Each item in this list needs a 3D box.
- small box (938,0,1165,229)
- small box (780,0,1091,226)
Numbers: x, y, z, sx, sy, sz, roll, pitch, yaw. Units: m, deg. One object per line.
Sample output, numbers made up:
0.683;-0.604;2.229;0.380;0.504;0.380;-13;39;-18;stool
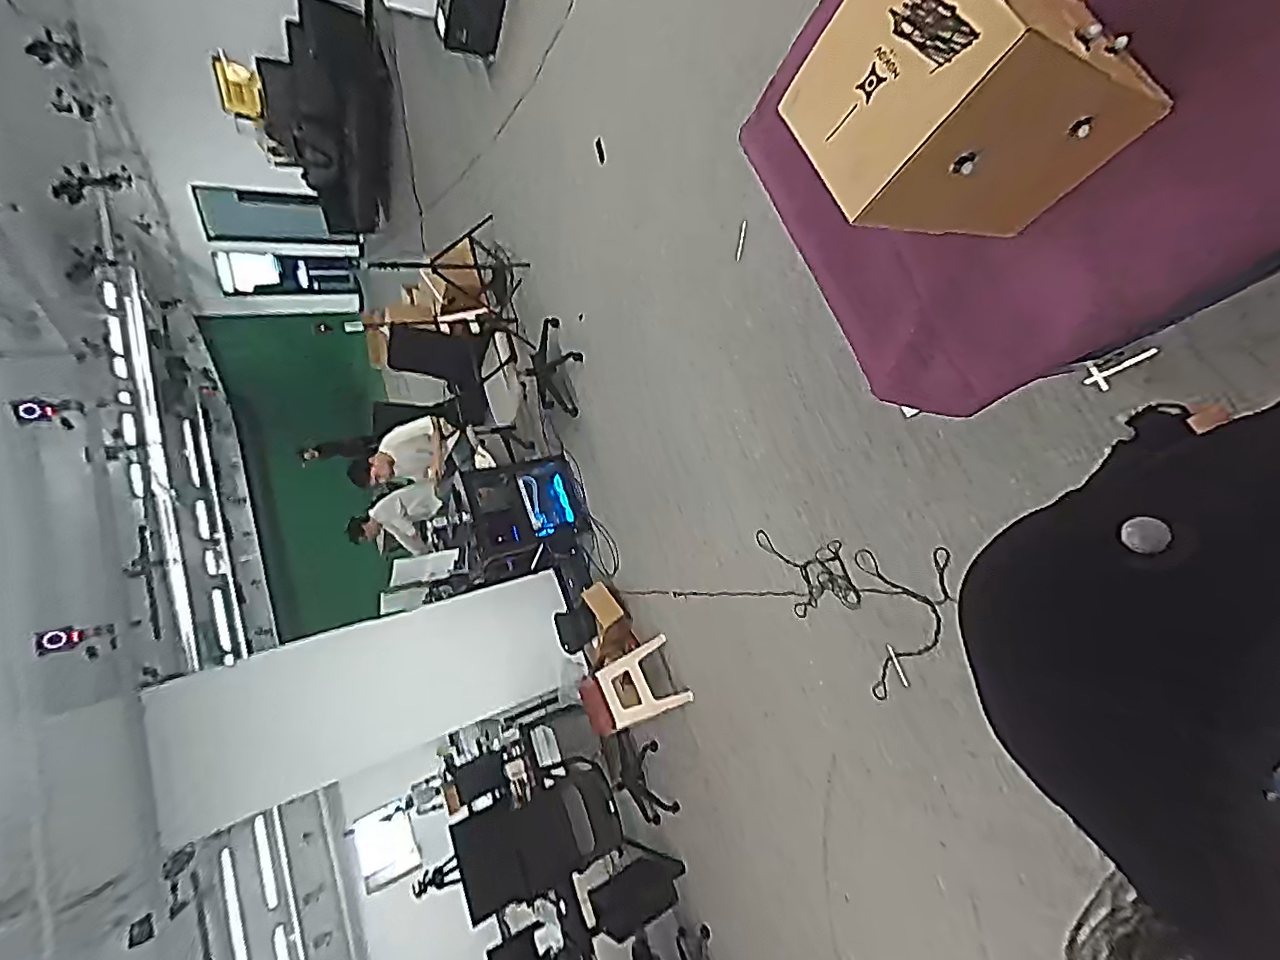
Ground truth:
0.411;-0.404;0.599;0.179;0.176;0.168;-46;62;54;small box
0.276;-0.370;0.511;0.179;0.176;0.168;-46;62;54;small box
